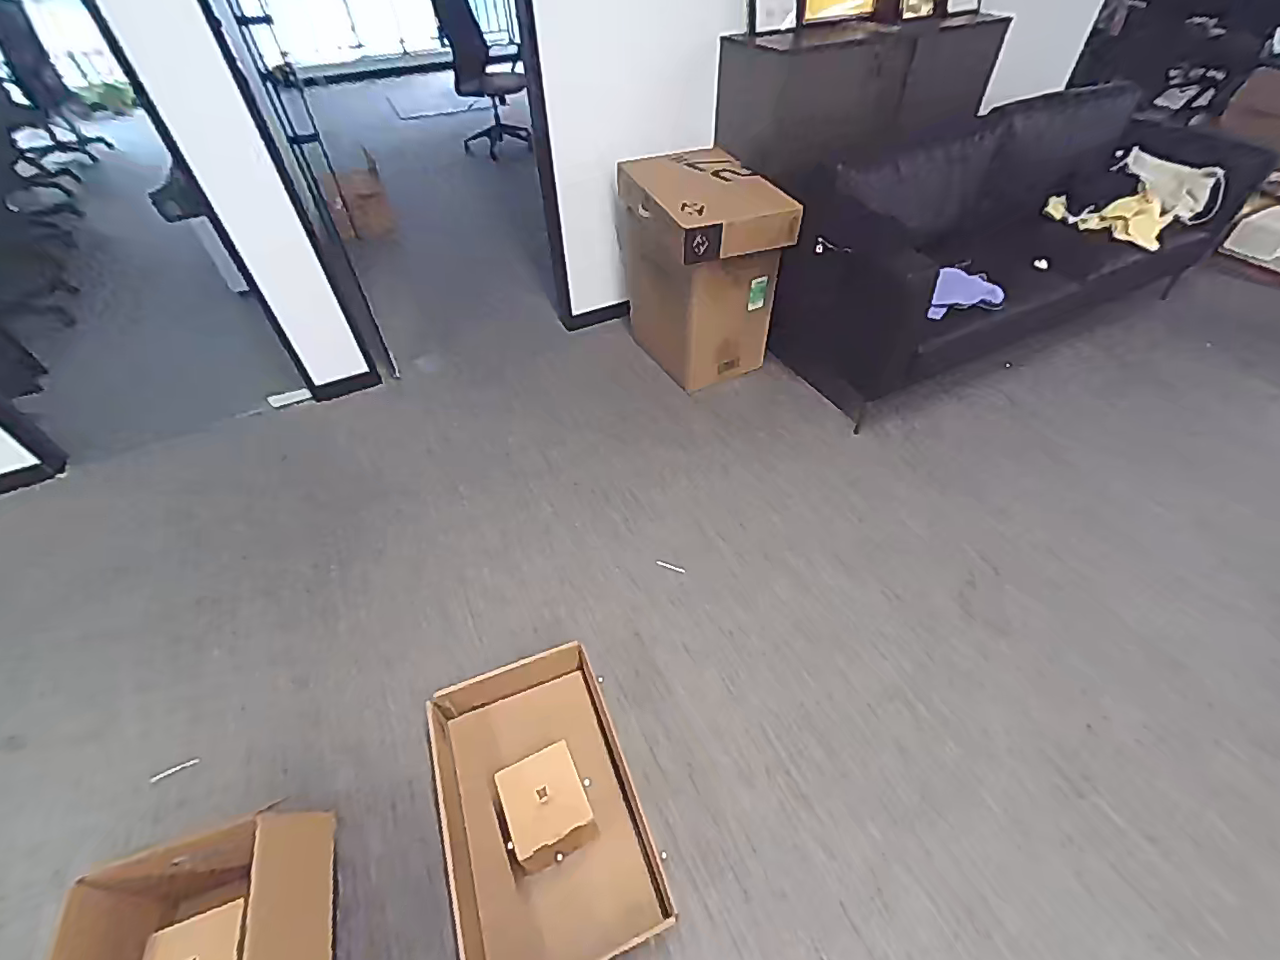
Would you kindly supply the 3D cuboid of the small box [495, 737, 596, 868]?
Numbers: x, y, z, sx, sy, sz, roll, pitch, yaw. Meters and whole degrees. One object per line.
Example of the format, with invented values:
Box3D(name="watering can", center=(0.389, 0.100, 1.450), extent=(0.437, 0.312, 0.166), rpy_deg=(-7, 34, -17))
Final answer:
Box3D(name="small box", center=(-0.206, 0.711, 1.191), extent=(0.168, 0.176, 0.179), rpy_deg=(-20, 50, -18))
